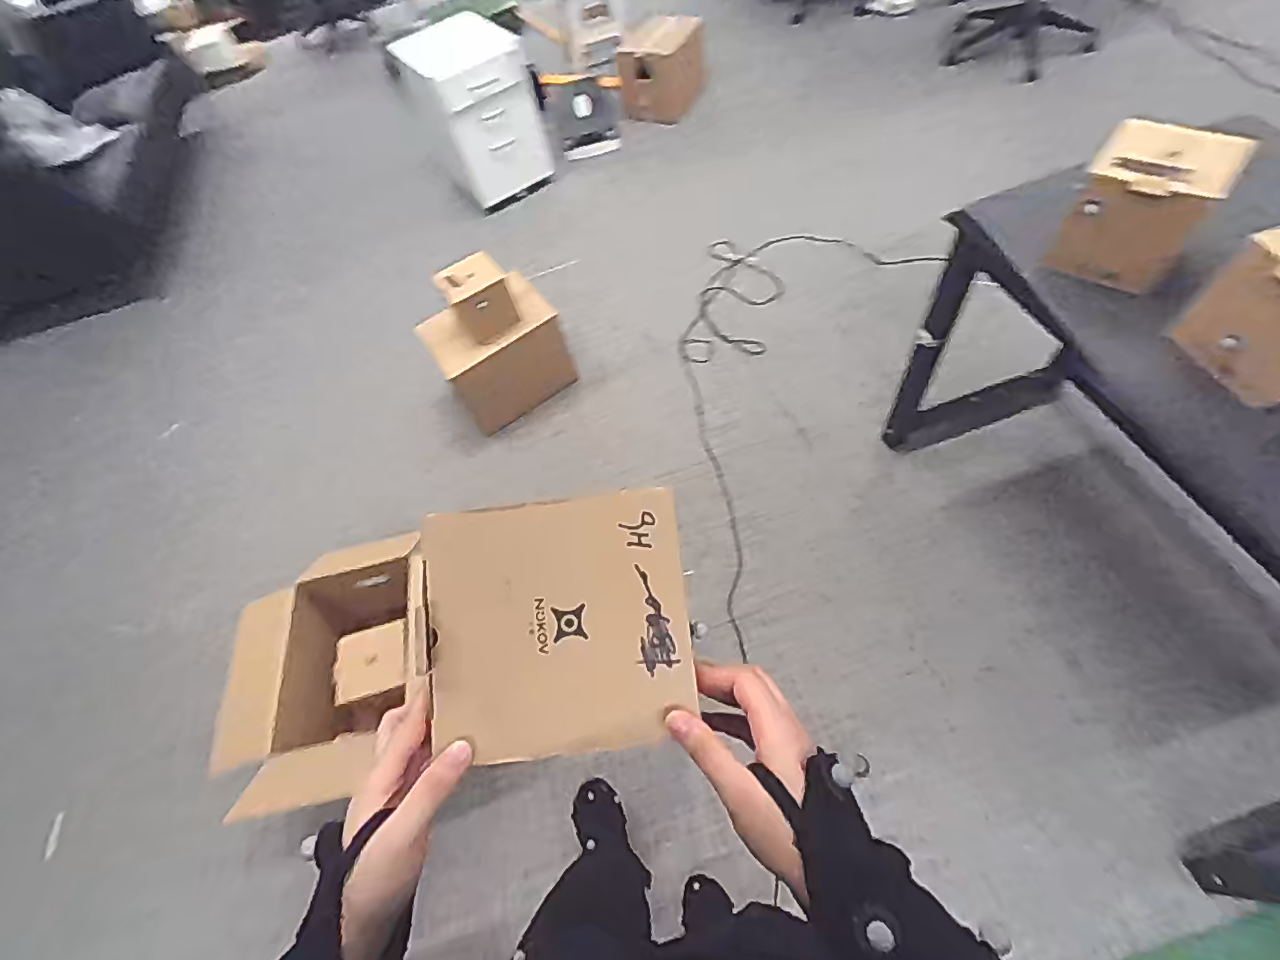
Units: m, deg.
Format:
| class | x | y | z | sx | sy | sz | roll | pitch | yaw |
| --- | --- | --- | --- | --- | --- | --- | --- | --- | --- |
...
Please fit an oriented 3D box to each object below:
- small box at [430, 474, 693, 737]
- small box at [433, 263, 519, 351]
| class | x | y | z | sx | sy | sz | roll | pitch | yaw |
| --- | --- | --- | --- | --- | --- | --- | --- | --- | --- |
| small box | -0.052 | 0.098 | 0.447 | 0.179 | 0.176 | 0.168 | -6 | 80 | 2 |
| small box | -0.513 | -0.542 | 1.707 | 0.179 | 0.176 | 0.168 | -35 | 60 | -11 |
